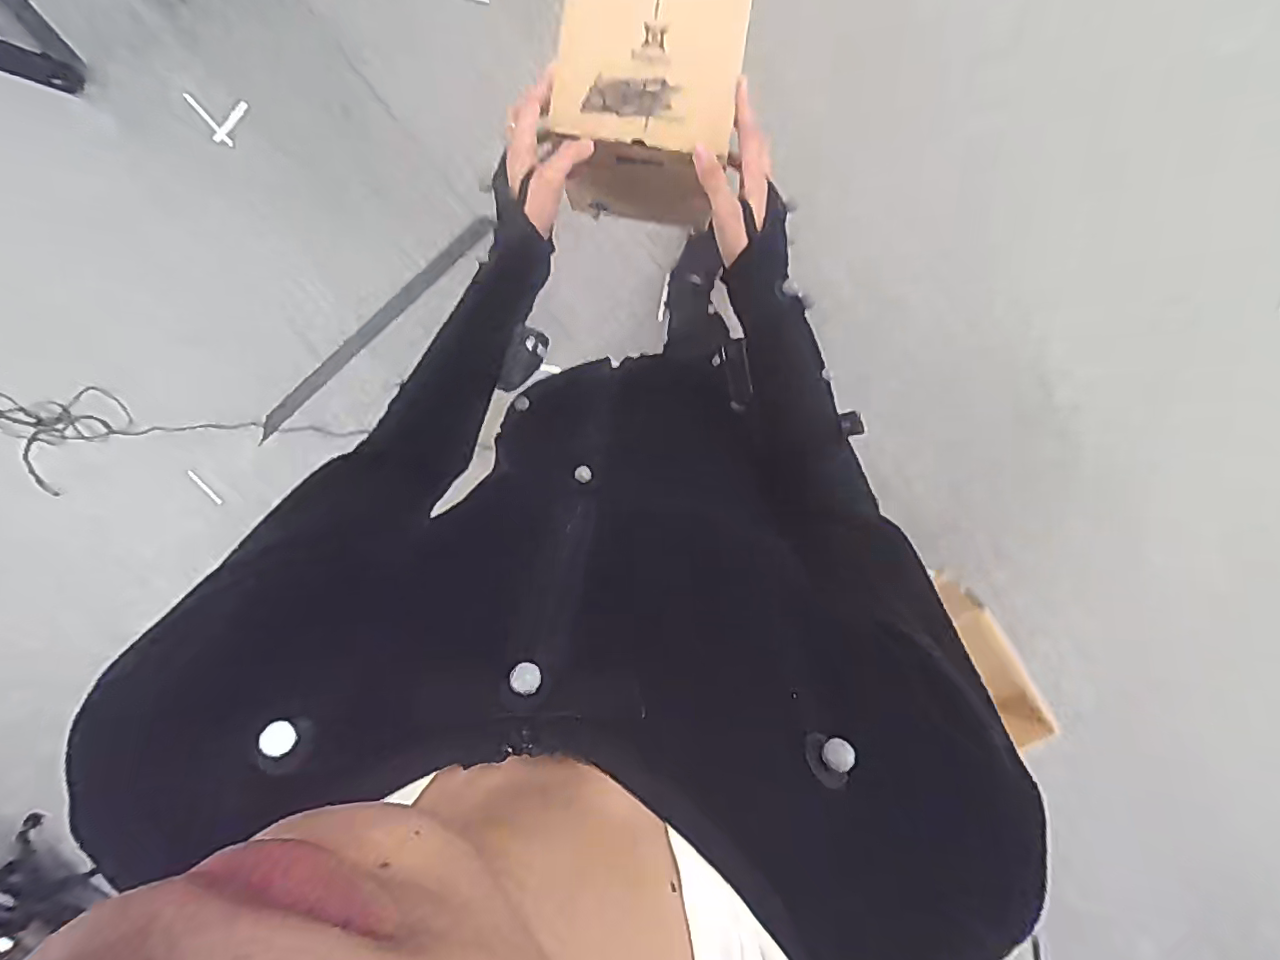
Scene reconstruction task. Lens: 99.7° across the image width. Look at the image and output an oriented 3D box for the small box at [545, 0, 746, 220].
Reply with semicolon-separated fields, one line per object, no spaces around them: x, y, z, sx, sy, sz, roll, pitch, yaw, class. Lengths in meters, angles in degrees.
0.006;-0.395;0.561;0.168;0.176;0.179;8;95;-2;small box
